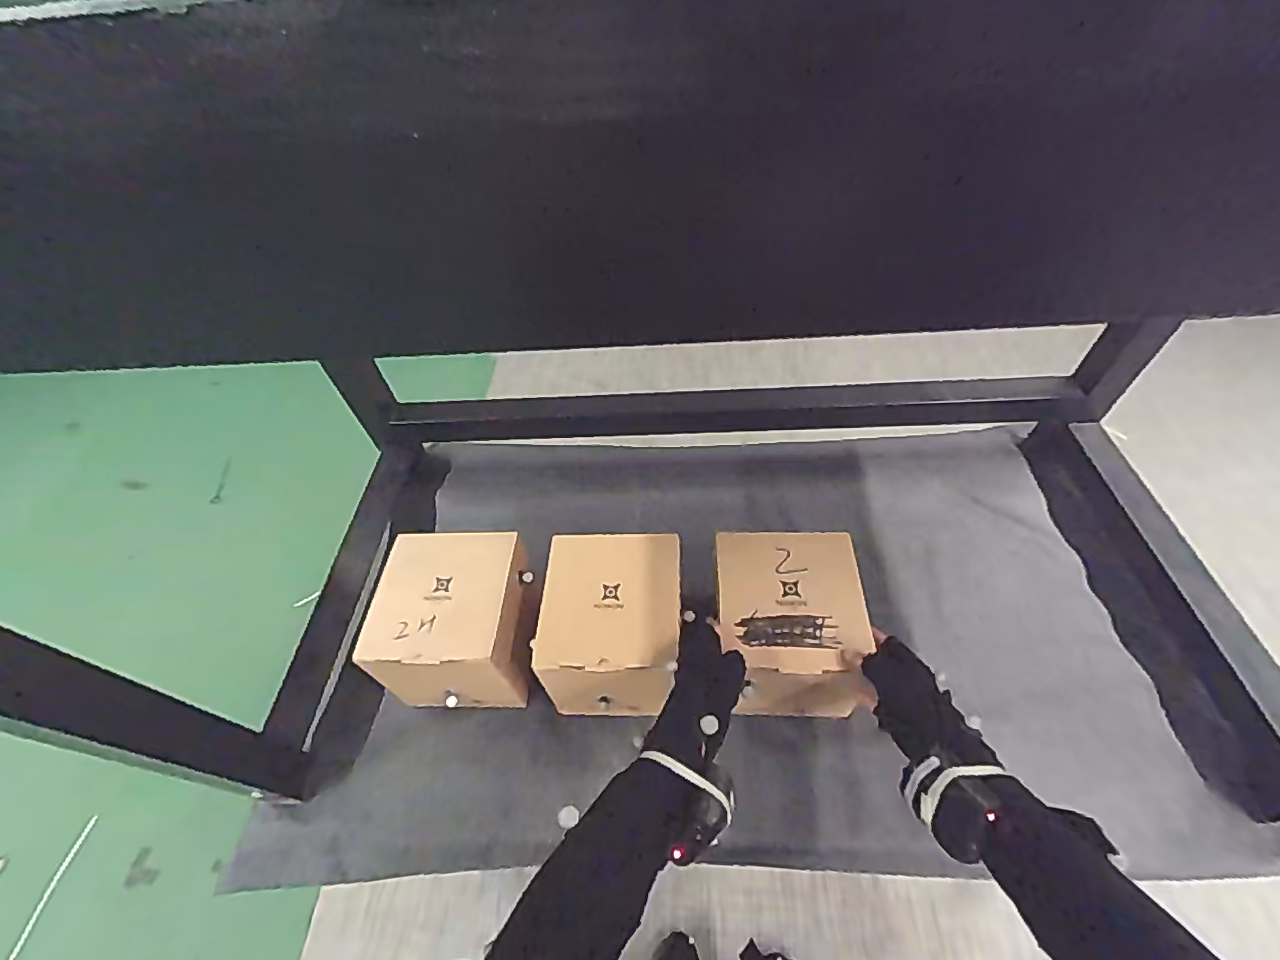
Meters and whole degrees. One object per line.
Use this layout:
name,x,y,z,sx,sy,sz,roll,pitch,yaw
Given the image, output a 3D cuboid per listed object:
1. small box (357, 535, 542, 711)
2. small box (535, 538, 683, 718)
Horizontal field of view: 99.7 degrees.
small box,-0.235,0.191,0.725,0.168,0.176,0.179,-1,50,5
small box,-0.028,0.193,0.706,0.168,0.176,0.179,-1,51,4
